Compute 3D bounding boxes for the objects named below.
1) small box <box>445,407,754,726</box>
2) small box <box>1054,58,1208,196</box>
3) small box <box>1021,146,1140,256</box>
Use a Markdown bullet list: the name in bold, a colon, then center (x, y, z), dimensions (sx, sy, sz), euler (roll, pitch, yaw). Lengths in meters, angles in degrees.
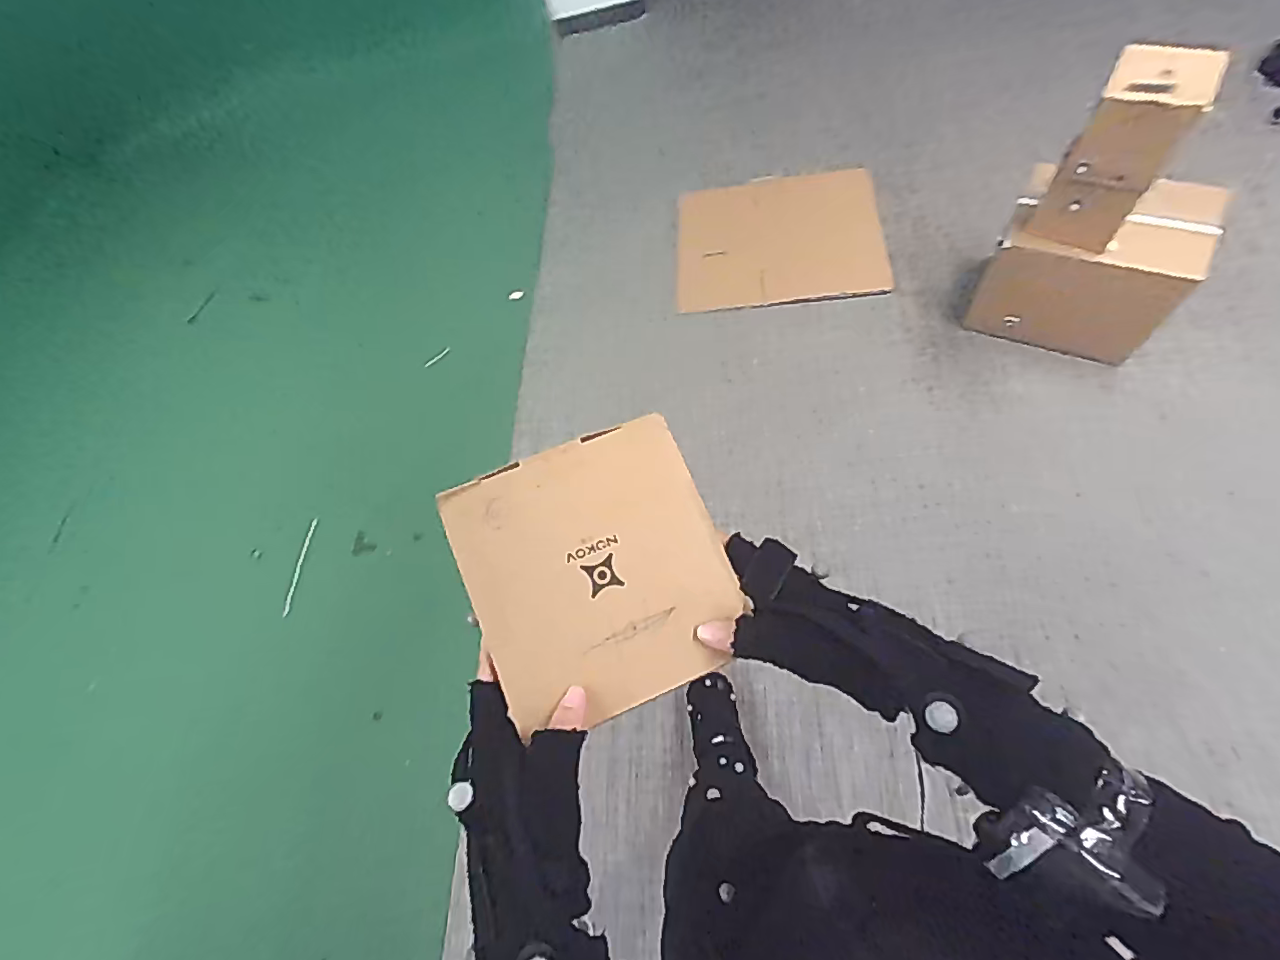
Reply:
- **small box**: center (-0.035, 0.069, 0.445), dimensions (0.168, 0.176, 0.179), euler (-22, 80, -9)
- **small box**: center (0.988, -0.715, 1.104), dimensions (0.168, 0.176, 0.179), euler (23, 72, 22)
- **small box**: center (1.030, -0.652, 1.253), dimensions (0.179, 0.176, 0.168), euler (29, 72, 23)
